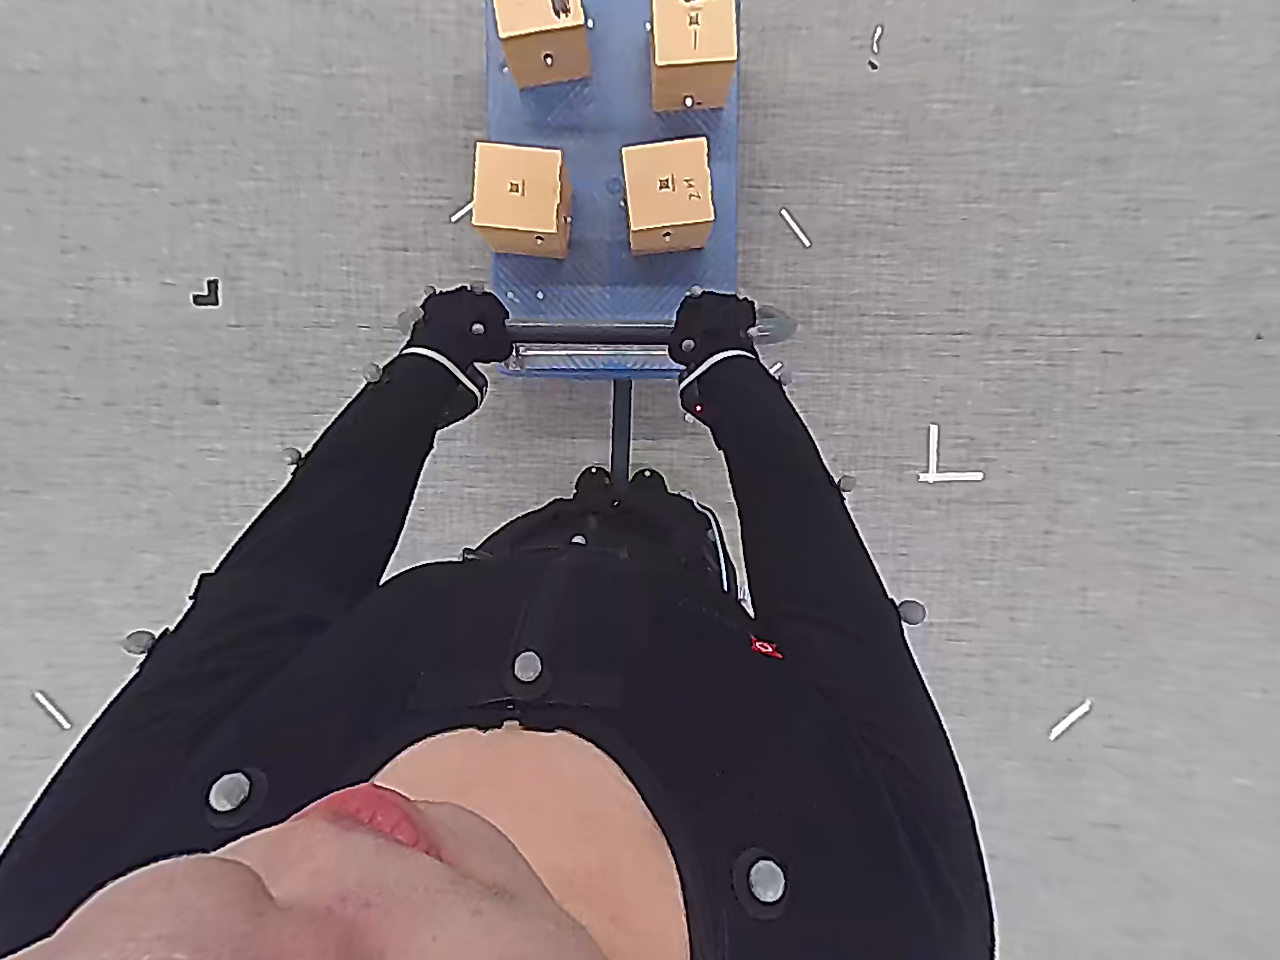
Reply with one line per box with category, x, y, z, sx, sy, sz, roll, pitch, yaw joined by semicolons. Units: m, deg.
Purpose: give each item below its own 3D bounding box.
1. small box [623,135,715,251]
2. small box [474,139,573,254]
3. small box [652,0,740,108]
small box;0.062;-0.612;1.173;0.179;0.176;0.168;-6;96;1
small box;-0.247;-0.606;1.176;0.179;0.176;0.168;5;96;-2
small box;0.113;-0.927;1.140;0.168;0.176;0.179;-3;97;1
